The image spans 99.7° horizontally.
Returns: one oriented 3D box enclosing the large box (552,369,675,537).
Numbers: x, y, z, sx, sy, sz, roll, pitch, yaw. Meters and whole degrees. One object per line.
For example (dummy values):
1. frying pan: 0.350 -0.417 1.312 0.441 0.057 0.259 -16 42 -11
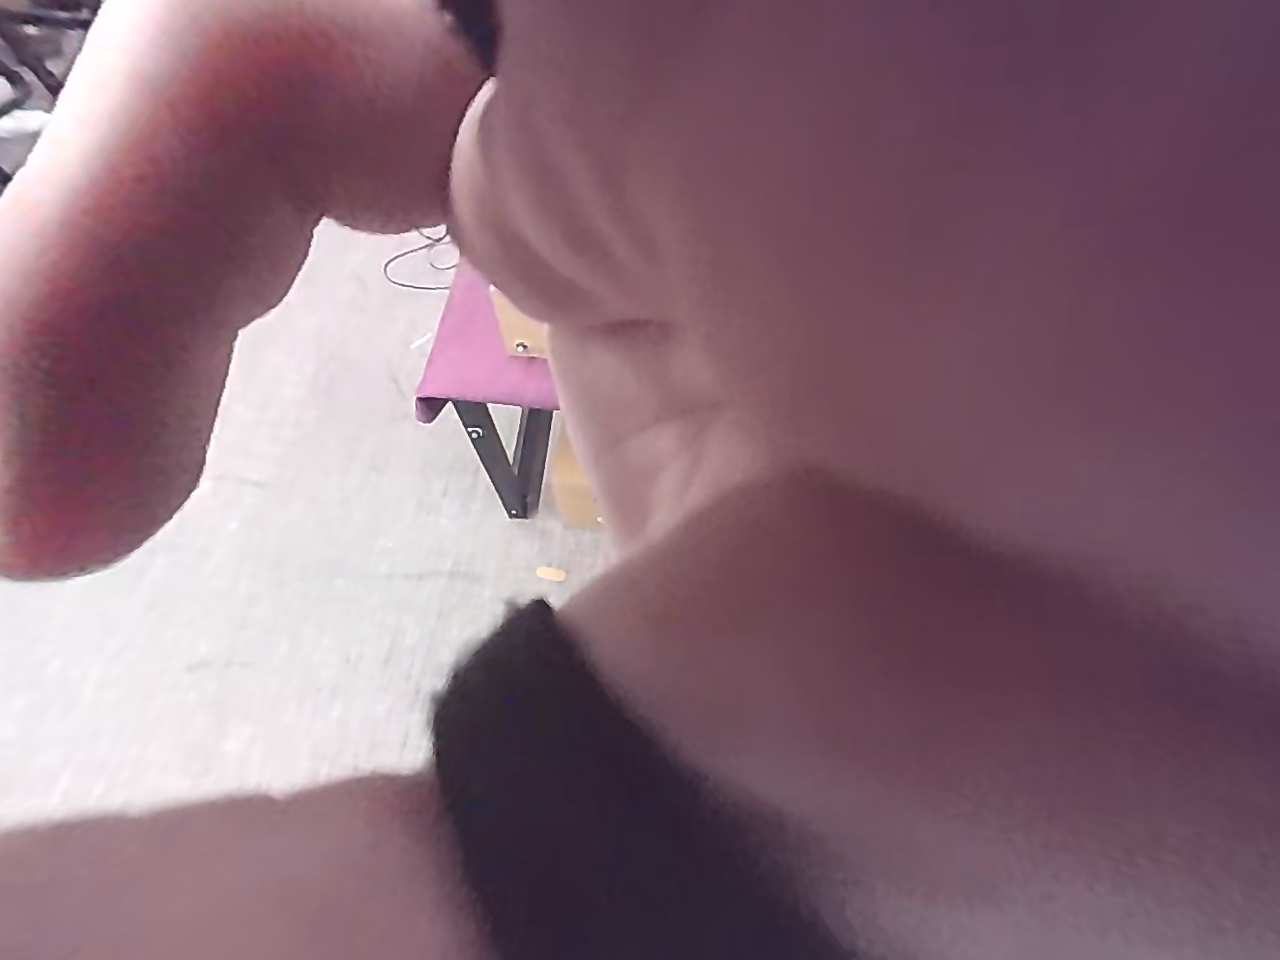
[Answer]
1. large box: -0.065 -0.074 1.631 0.320 0.320 0.408 5 61 1
